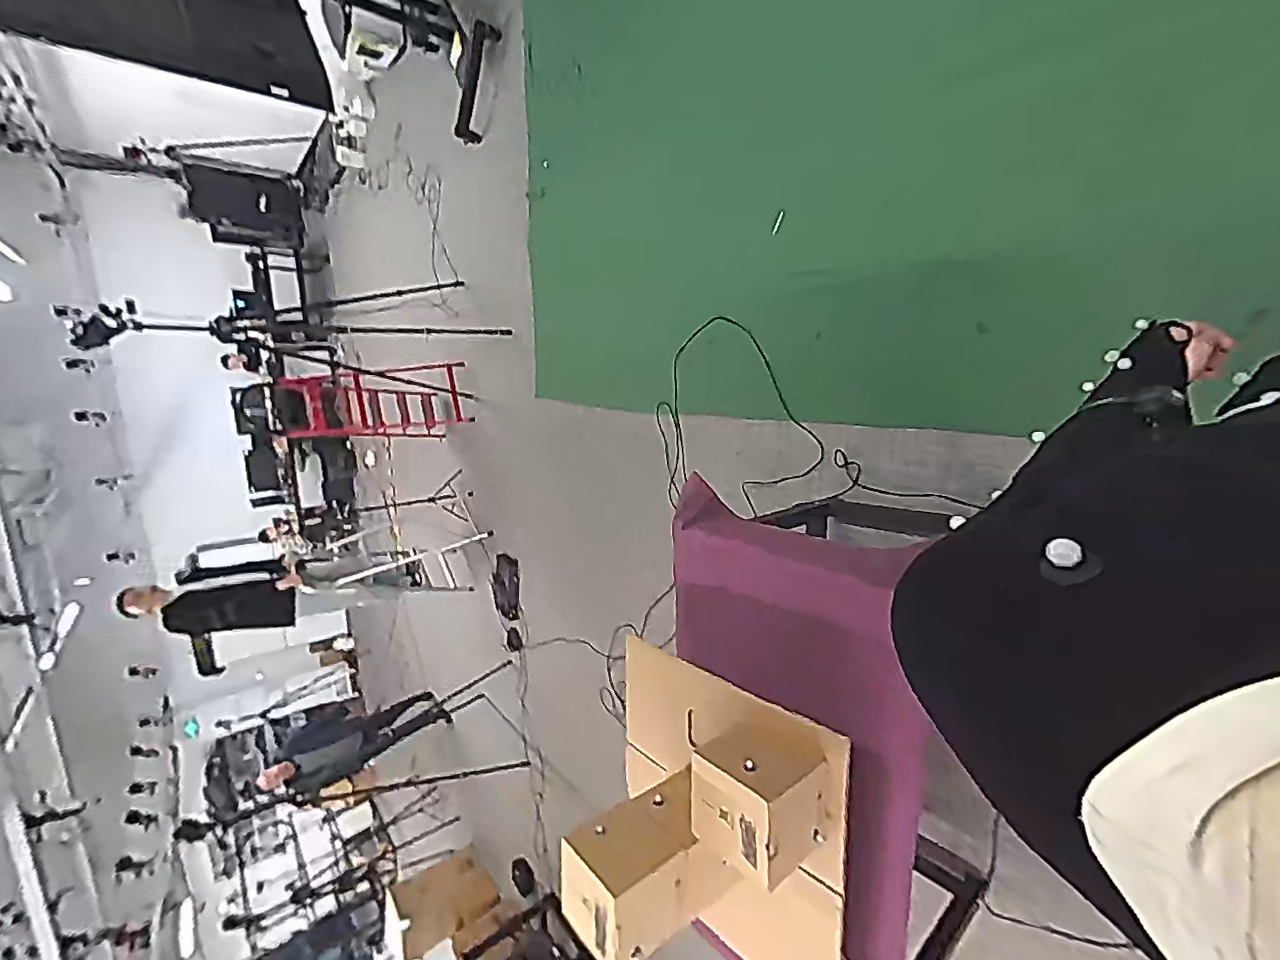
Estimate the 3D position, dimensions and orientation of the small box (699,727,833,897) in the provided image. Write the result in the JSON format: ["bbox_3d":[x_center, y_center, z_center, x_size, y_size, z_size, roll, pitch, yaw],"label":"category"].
[{"bbox_3d":[0.225,0.574,0.968,0.179,0.176,0.168,8,101,50],"label":"small box"}]

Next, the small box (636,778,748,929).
[{"bbox_3d":[0.110,0.761,1.130,0.179,0.176,0.168,9,101,49],"label":"small box"}]
